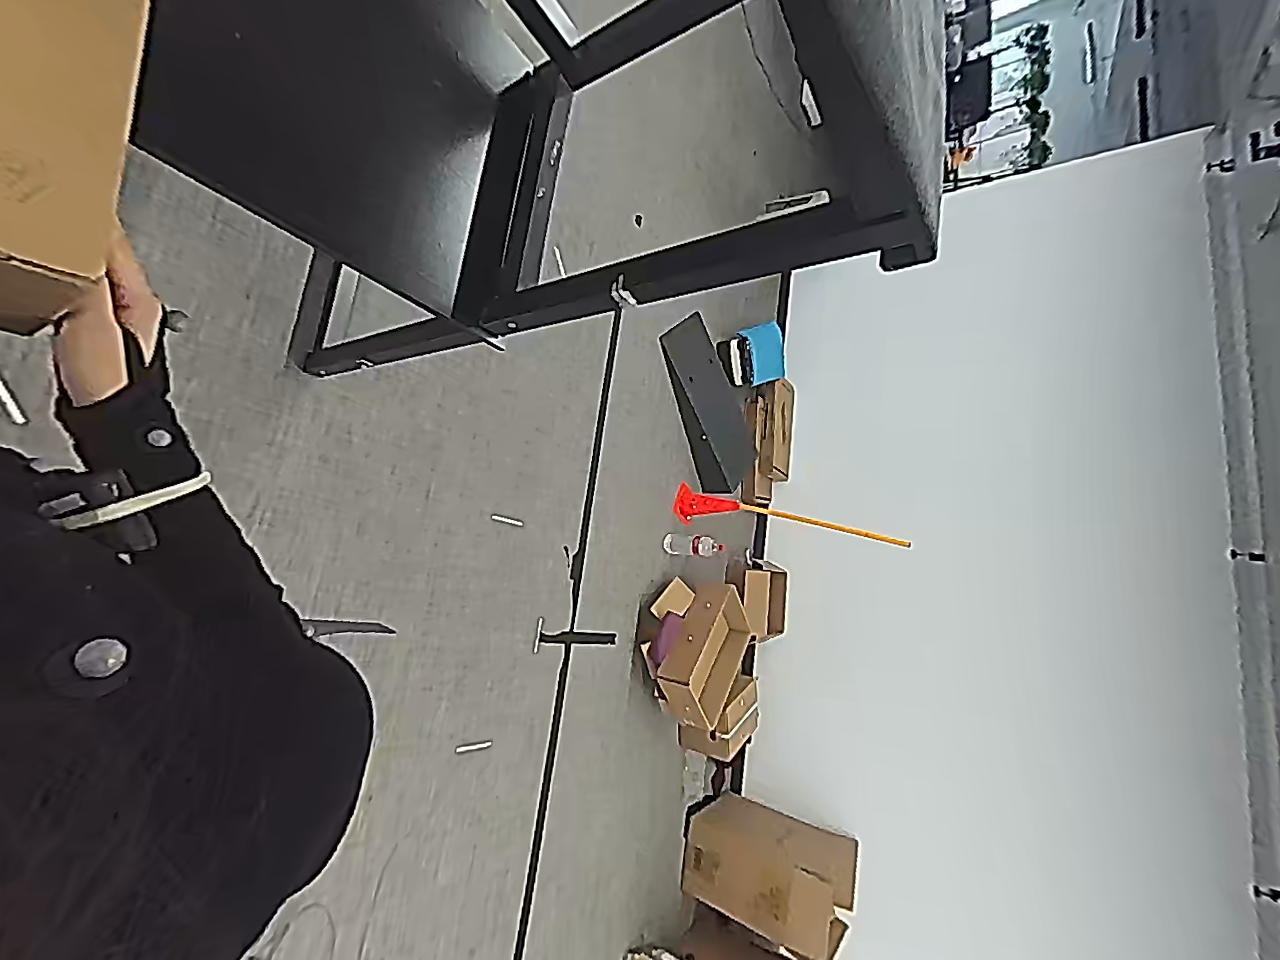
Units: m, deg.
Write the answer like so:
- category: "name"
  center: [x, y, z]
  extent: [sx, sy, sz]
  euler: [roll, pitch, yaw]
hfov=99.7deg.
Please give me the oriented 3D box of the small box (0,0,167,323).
- category: "small box"
  center: [-0.364, -0.188, 0.253]
  extent: [0.168, 0.176, 0.179]
  euler: [12, 82, -56]
